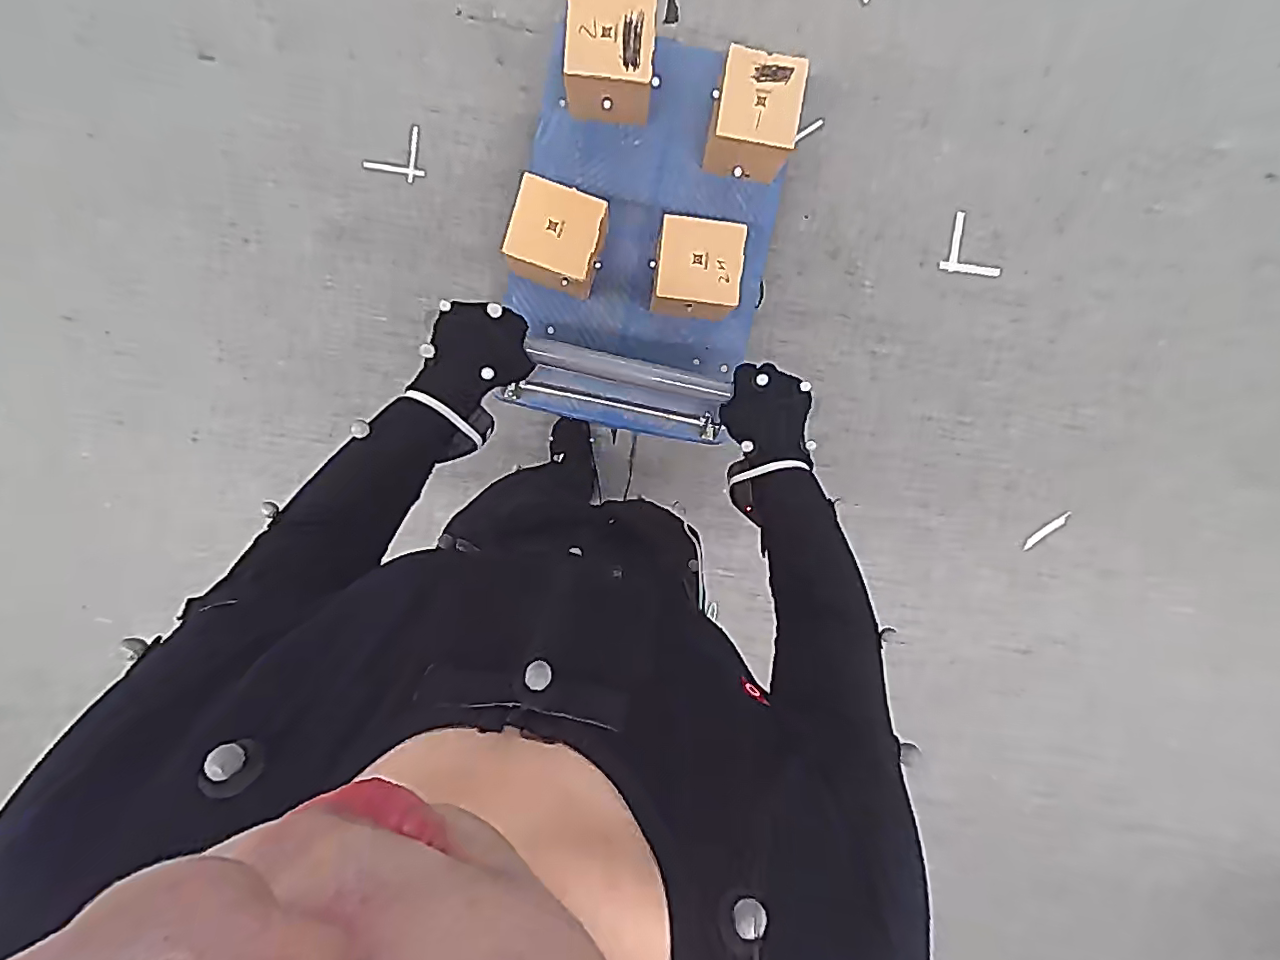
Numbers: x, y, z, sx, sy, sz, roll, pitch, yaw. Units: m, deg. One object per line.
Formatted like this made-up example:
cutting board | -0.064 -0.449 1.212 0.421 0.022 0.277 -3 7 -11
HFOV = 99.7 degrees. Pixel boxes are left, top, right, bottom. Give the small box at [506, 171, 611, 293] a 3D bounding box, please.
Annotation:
small box | -0.171 -0.525 1.174 0.179 0.176 0.168 17 94 -6

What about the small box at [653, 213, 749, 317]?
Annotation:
small box | 0.126 -0.467 1.197 0.179 0.176 0.168 6 96 -4

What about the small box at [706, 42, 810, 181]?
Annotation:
small box | 0.245 -0.784 1.168 0.168 0.176 0.179 8 97 -4
